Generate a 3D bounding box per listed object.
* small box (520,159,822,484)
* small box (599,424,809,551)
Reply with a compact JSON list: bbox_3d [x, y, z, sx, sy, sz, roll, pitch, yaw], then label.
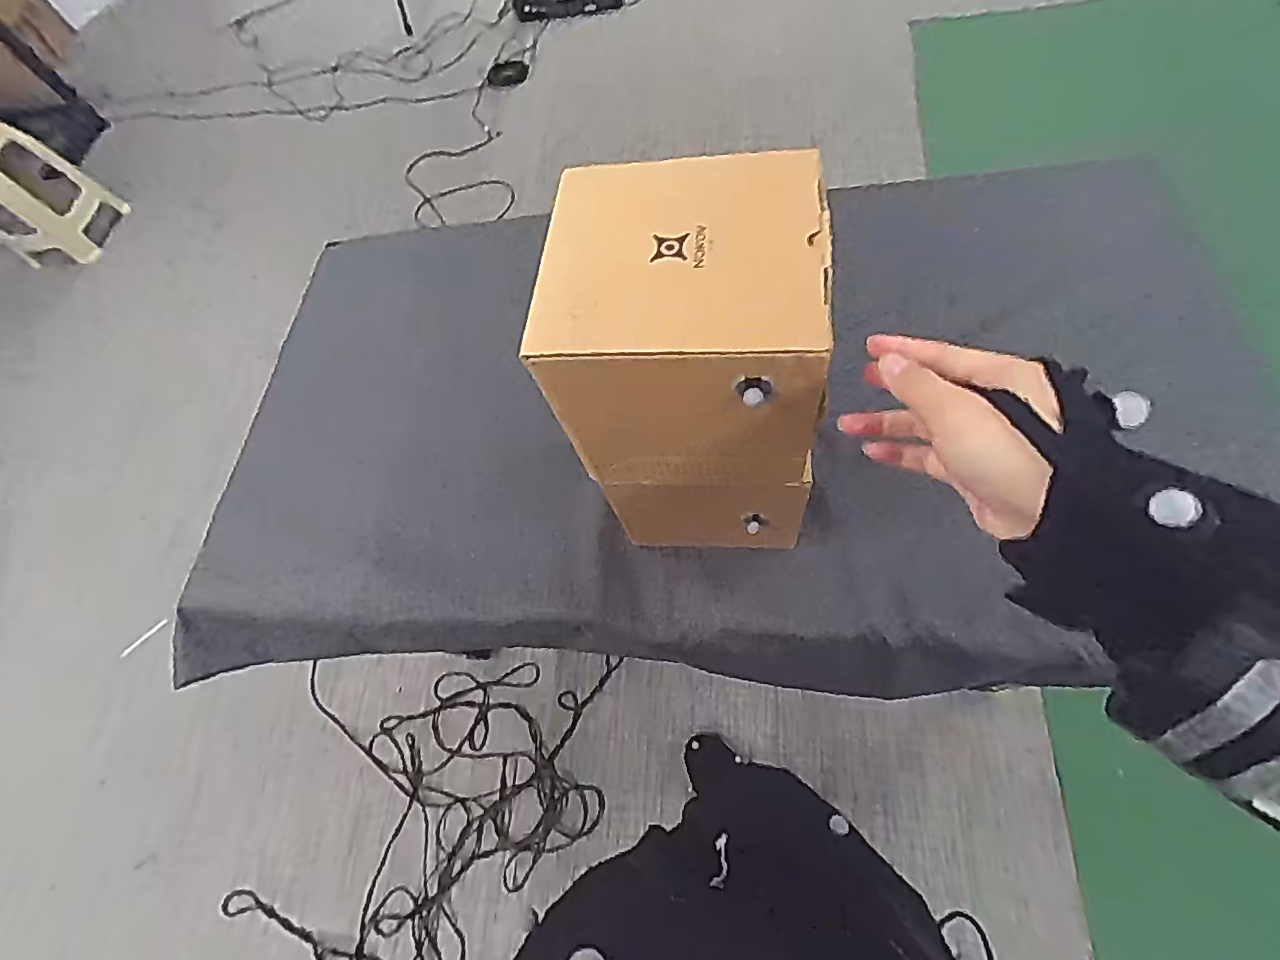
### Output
[{"bbox_3d":[0.034,-0.105,0.408,0.179,0.176,0.168,1,64,10],"label":"small box"},{"bbox_3d":[0.069,-0.031,0.550,0.179,0.176,0.168,-1,63,11],"label":"small box"}]
